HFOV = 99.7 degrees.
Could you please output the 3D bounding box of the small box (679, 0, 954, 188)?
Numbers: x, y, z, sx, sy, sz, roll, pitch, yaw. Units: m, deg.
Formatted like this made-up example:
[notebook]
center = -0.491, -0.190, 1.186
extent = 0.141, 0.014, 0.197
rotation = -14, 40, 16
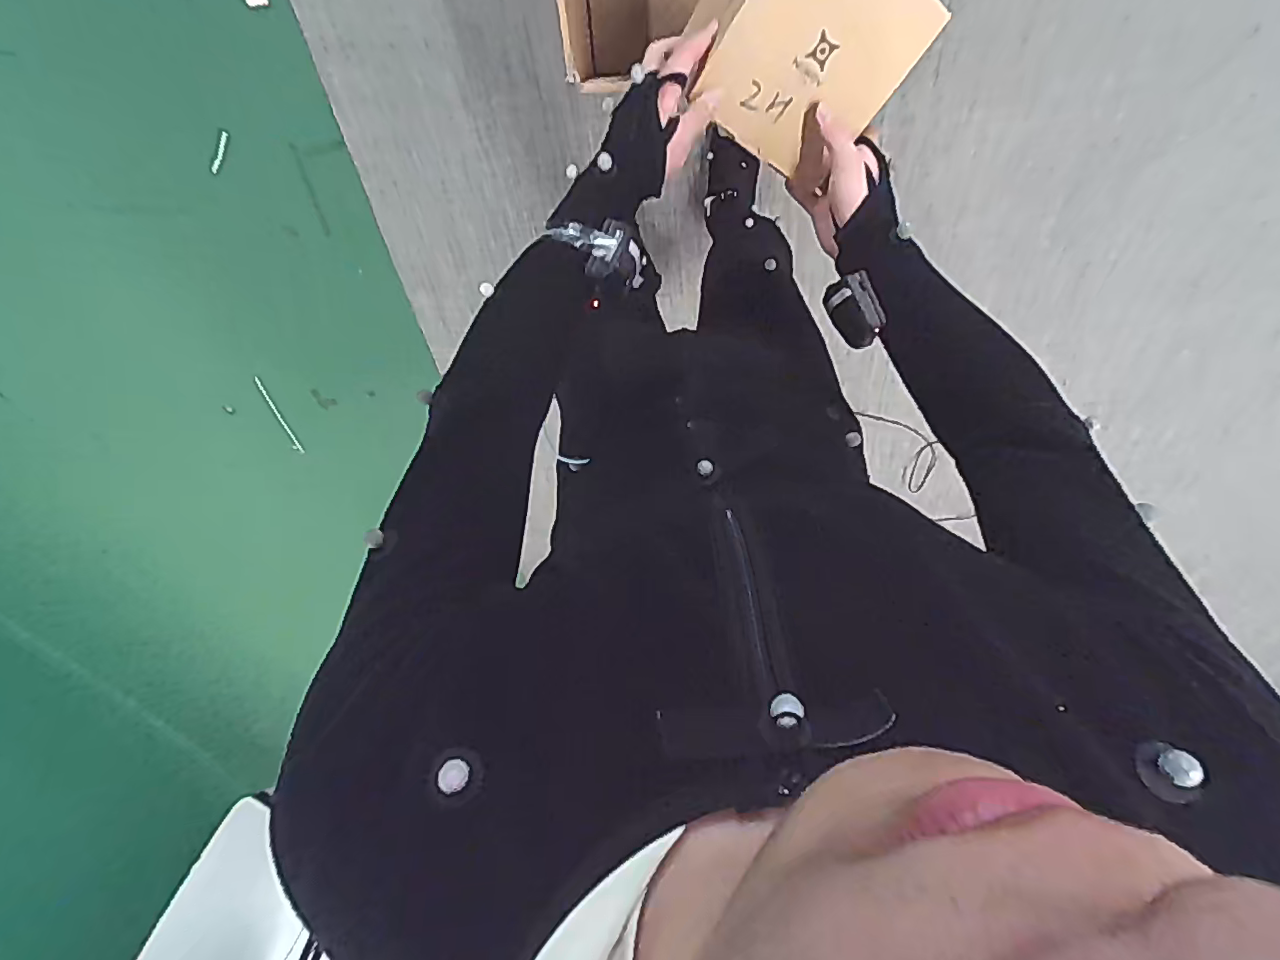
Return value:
[small box]
center = 0.153, -0.440, 0.532
extent = 0.168, 0.176, 0.179
rotation = 22, 131, -26
